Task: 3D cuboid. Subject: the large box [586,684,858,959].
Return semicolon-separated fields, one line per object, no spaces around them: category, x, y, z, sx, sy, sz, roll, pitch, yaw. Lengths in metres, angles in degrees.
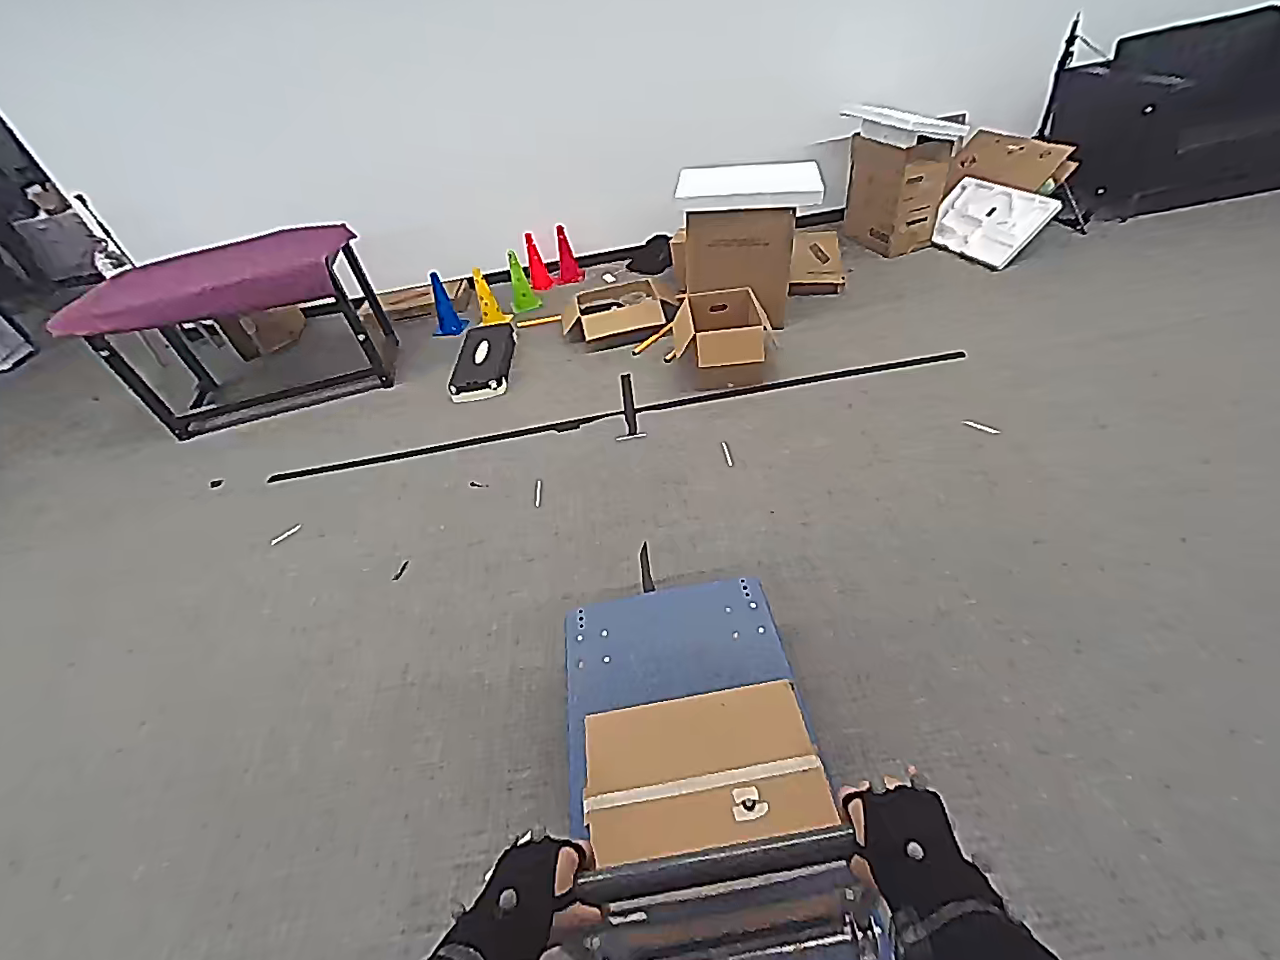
large box;0.129;0.632;1.008;0.408;0.320;0.320;-10;42;-1
